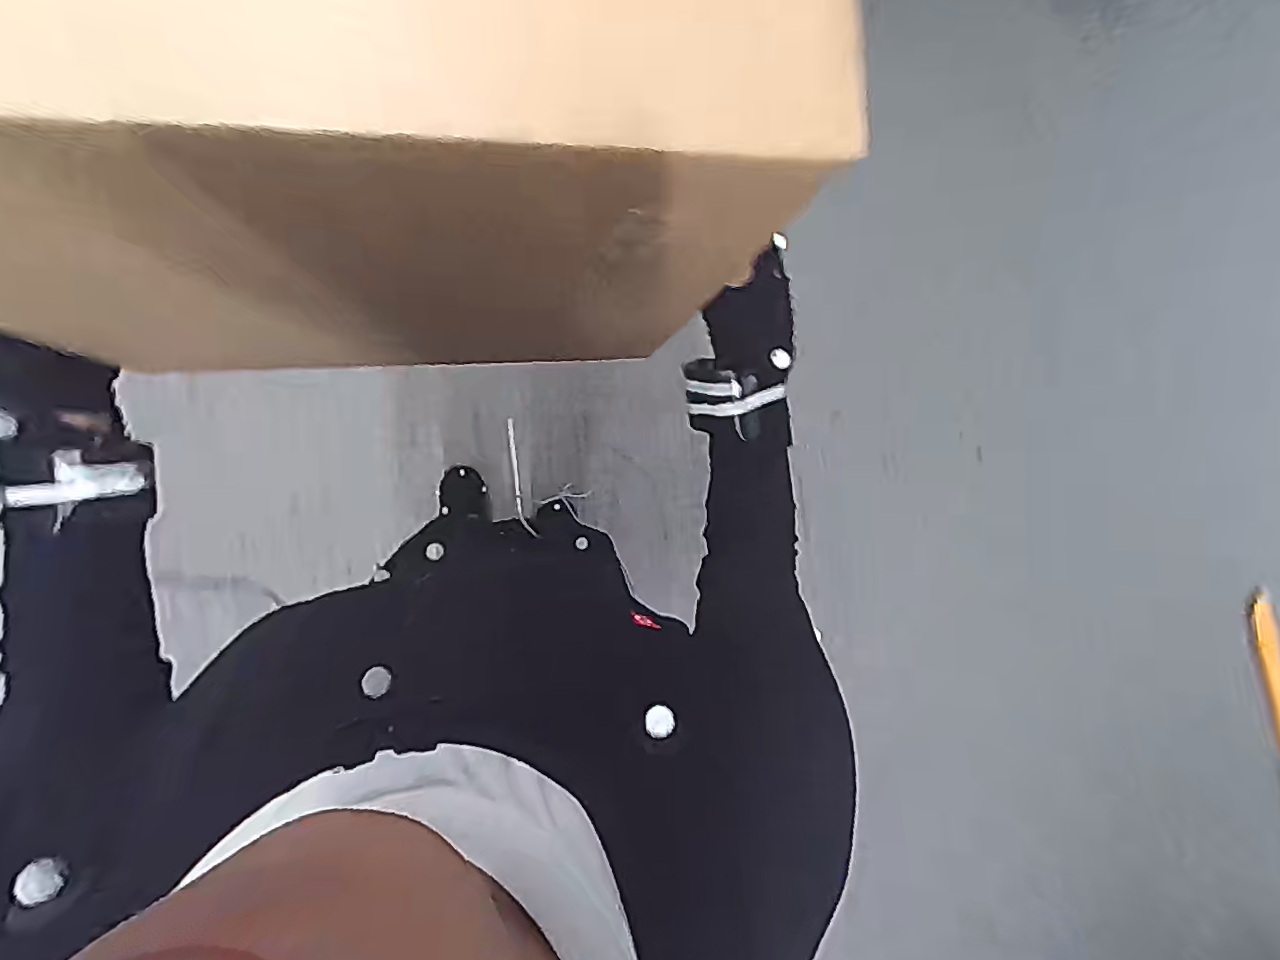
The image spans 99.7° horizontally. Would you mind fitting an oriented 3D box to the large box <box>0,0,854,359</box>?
[{"bbox_3d":[-0.158,-0.262,0.306,0.408,0.320,0.320,-5,91,-14],"label":"large box"}]
